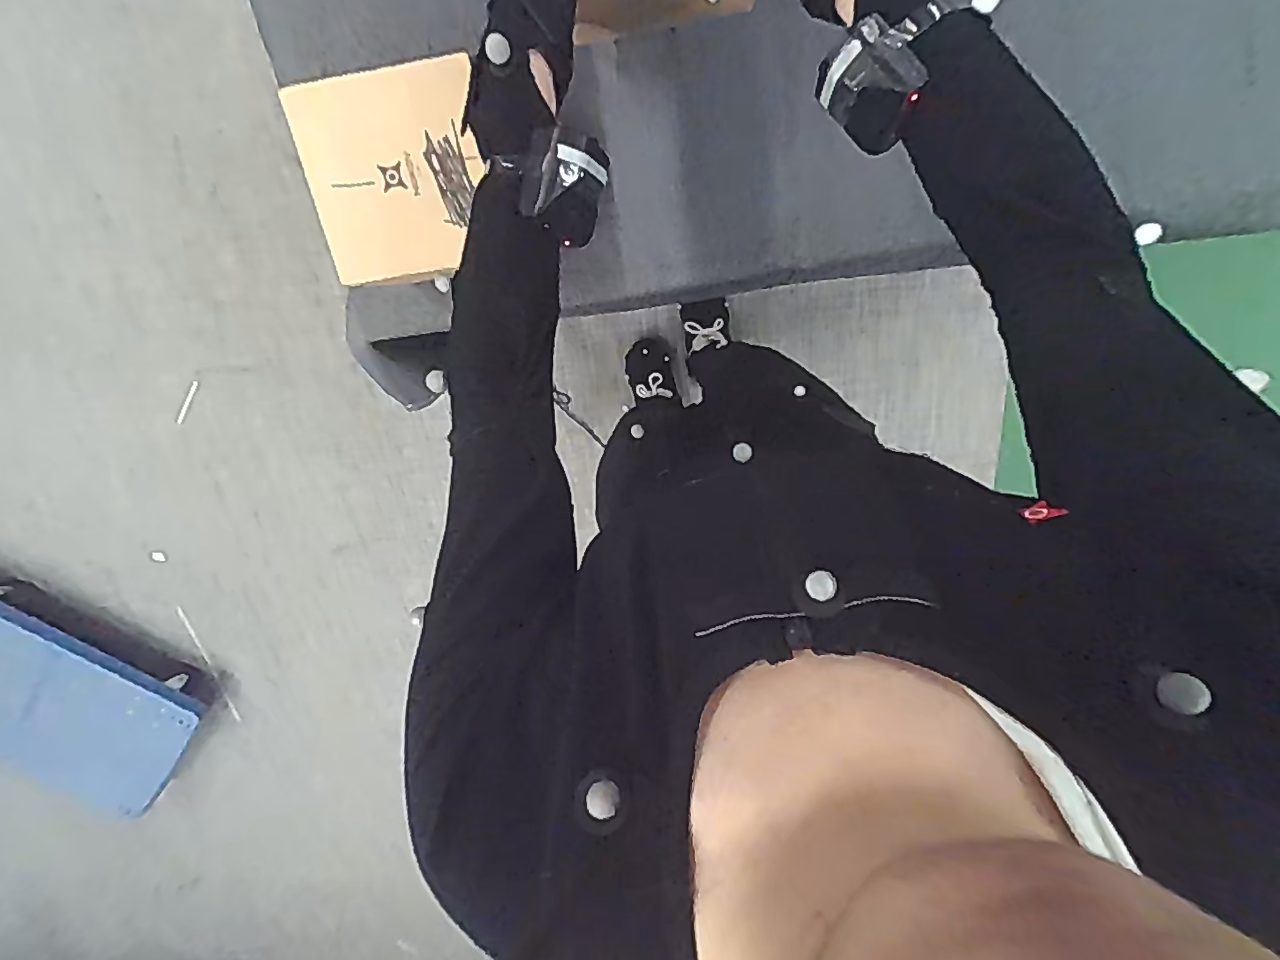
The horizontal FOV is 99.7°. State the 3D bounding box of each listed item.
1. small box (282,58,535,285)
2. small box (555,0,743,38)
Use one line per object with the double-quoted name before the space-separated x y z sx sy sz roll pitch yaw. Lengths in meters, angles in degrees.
"small box" -0.216 -0.304 0.567 0.179 0.176 0.168 -8 110 3
"small box" 0.009 -0.482 0.426 0.179 0.176 0.168 -6 117 6
